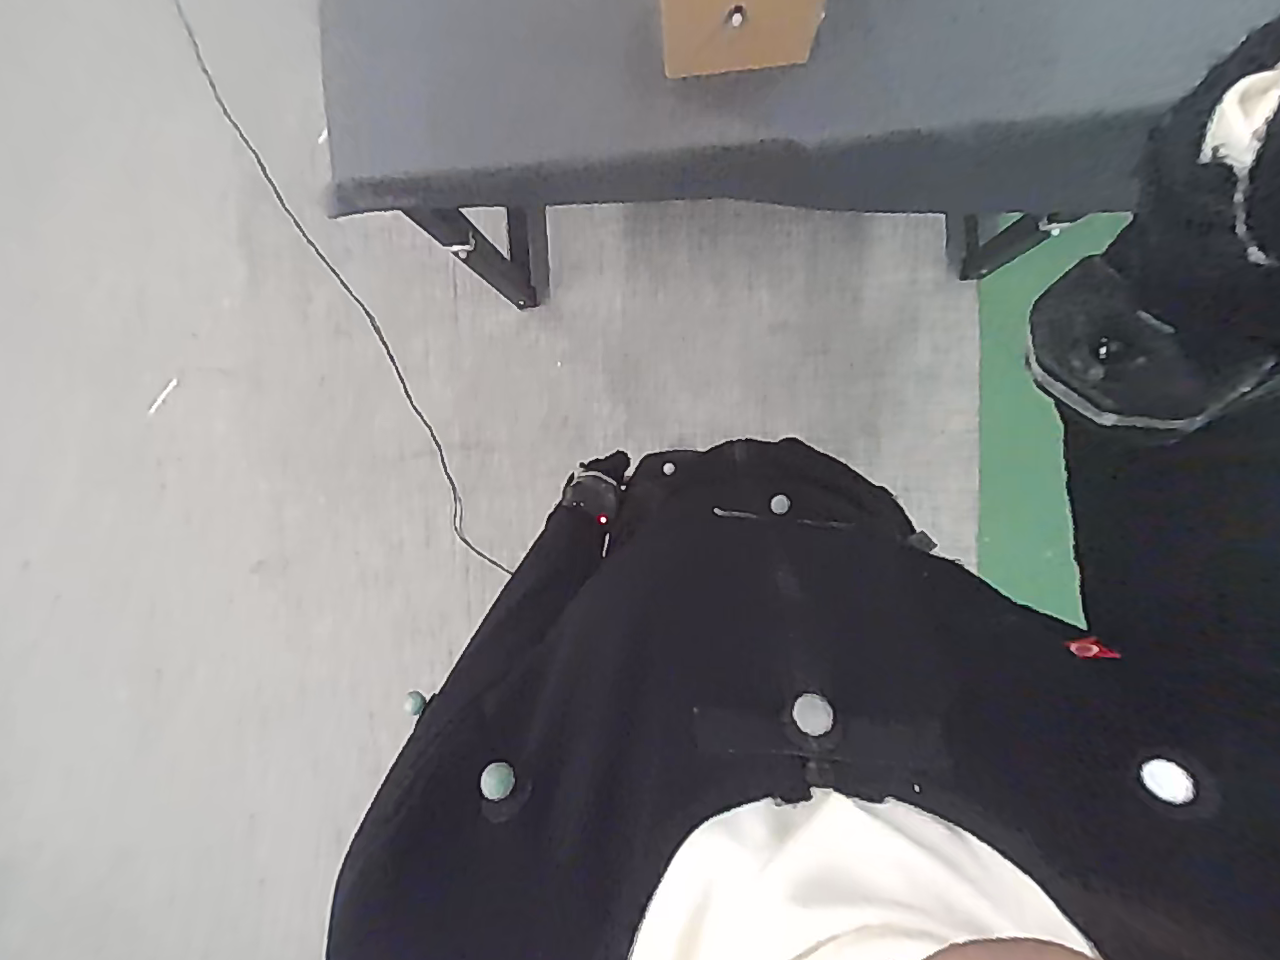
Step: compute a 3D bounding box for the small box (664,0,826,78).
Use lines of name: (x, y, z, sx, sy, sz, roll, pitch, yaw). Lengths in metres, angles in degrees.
small box: (0.112, -0.583, 0.589, 0.179, 0.176, 0.168, -3, 92, 6)
